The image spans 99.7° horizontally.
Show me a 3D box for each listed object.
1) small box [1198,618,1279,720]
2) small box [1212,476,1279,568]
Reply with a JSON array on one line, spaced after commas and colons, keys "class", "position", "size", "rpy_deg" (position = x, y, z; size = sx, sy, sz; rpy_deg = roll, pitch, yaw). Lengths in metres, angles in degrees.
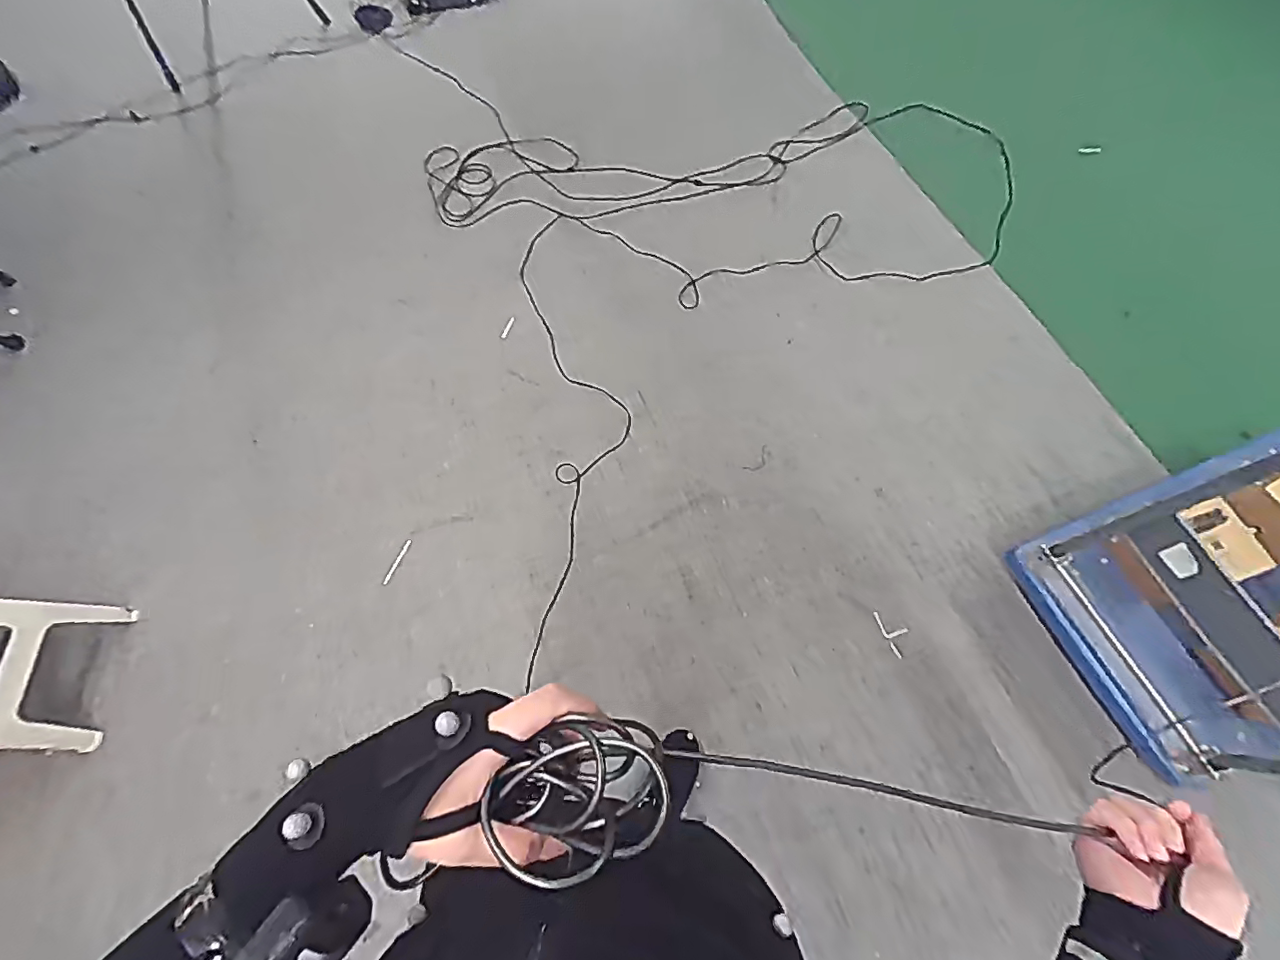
[{"class": "small box", "position": [1.357, 0.389, 1.128], "size": [0.179, 0.176, 0.168], "rpy_deg": [-21, 67, -4]}, {"class": "small box", "position": [1.499, 0.085, 1.246], "size": [0.179, 0.176, 0.168], "rpy_deg": [-25, 68, -6]}]
